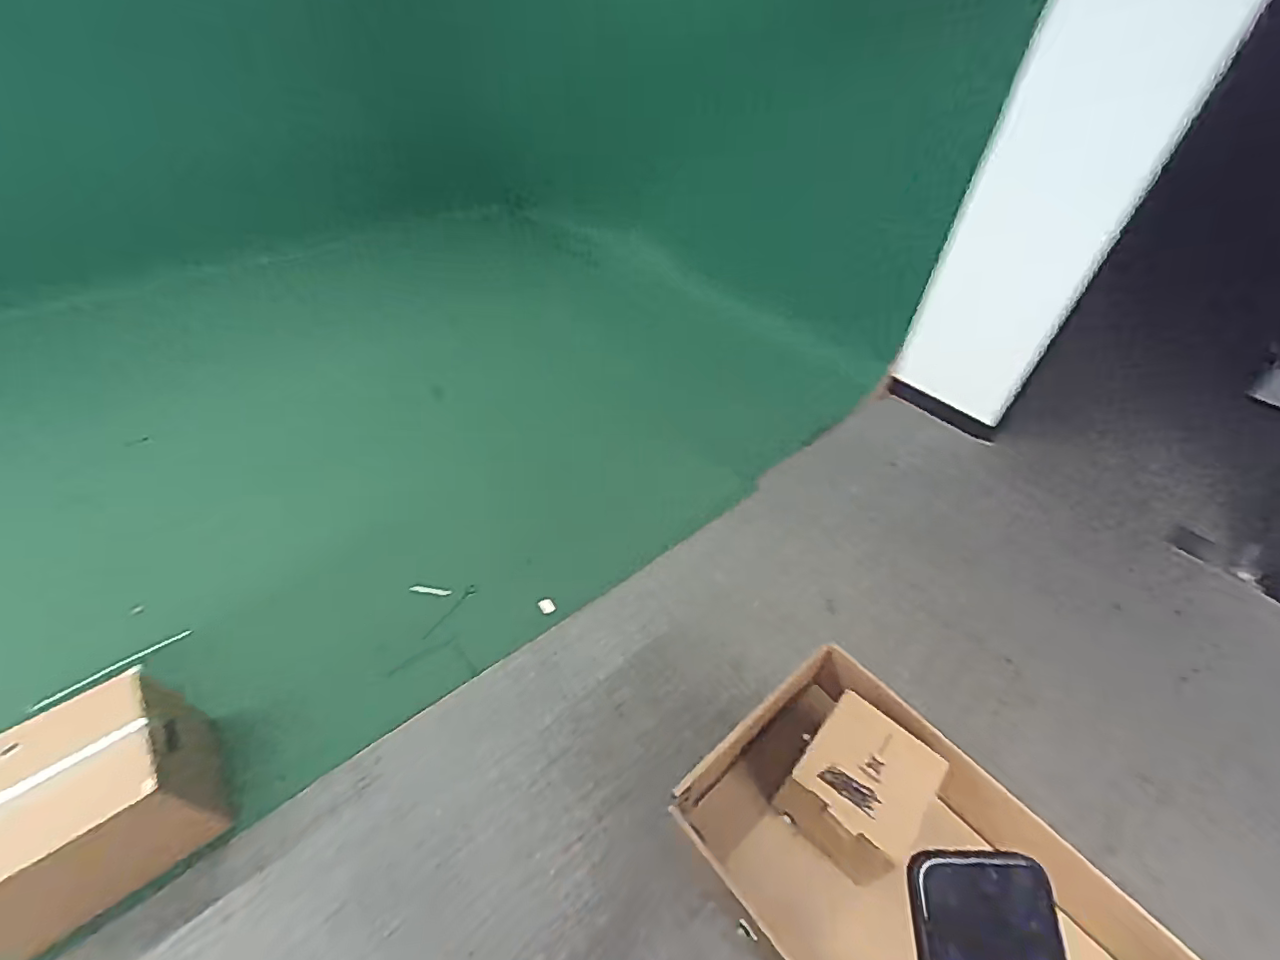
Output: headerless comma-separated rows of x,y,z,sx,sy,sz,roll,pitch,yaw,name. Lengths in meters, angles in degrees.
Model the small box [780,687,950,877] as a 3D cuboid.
0.337,0.470,0.840,0.168,0.176,0.179,34,54,27,small box
